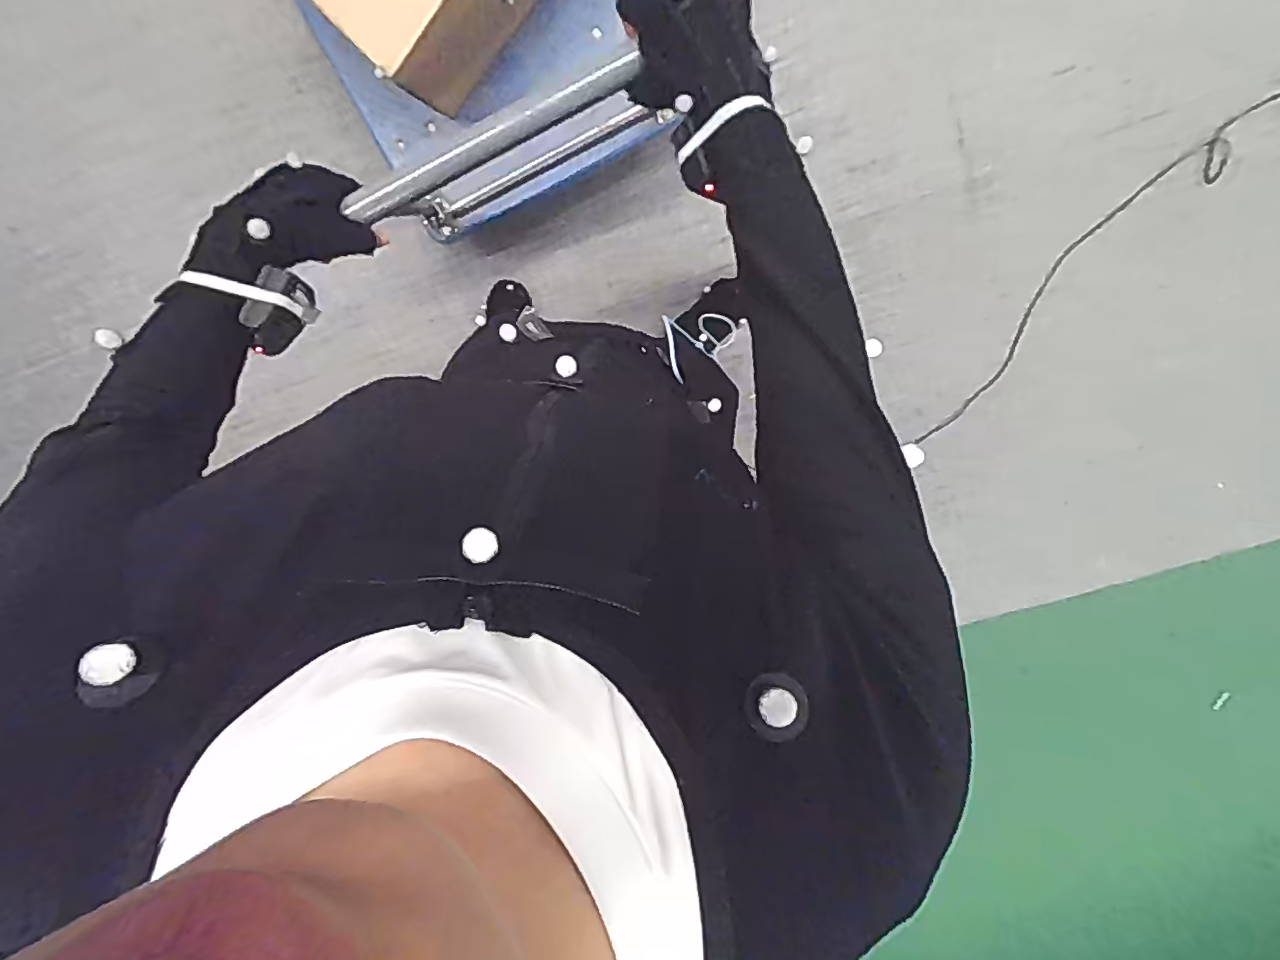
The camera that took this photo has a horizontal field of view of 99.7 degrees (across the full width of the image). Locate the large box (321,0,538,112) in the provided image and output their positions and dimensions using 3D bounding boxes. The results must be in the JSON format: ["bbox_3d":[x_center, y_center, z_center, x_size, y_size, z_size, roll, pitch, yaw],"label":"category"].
[{"bbox_3d":[-0.310,-0.854,0.792,0.320,0.320,0.408,41,108,-18],"label":"large box"}]
